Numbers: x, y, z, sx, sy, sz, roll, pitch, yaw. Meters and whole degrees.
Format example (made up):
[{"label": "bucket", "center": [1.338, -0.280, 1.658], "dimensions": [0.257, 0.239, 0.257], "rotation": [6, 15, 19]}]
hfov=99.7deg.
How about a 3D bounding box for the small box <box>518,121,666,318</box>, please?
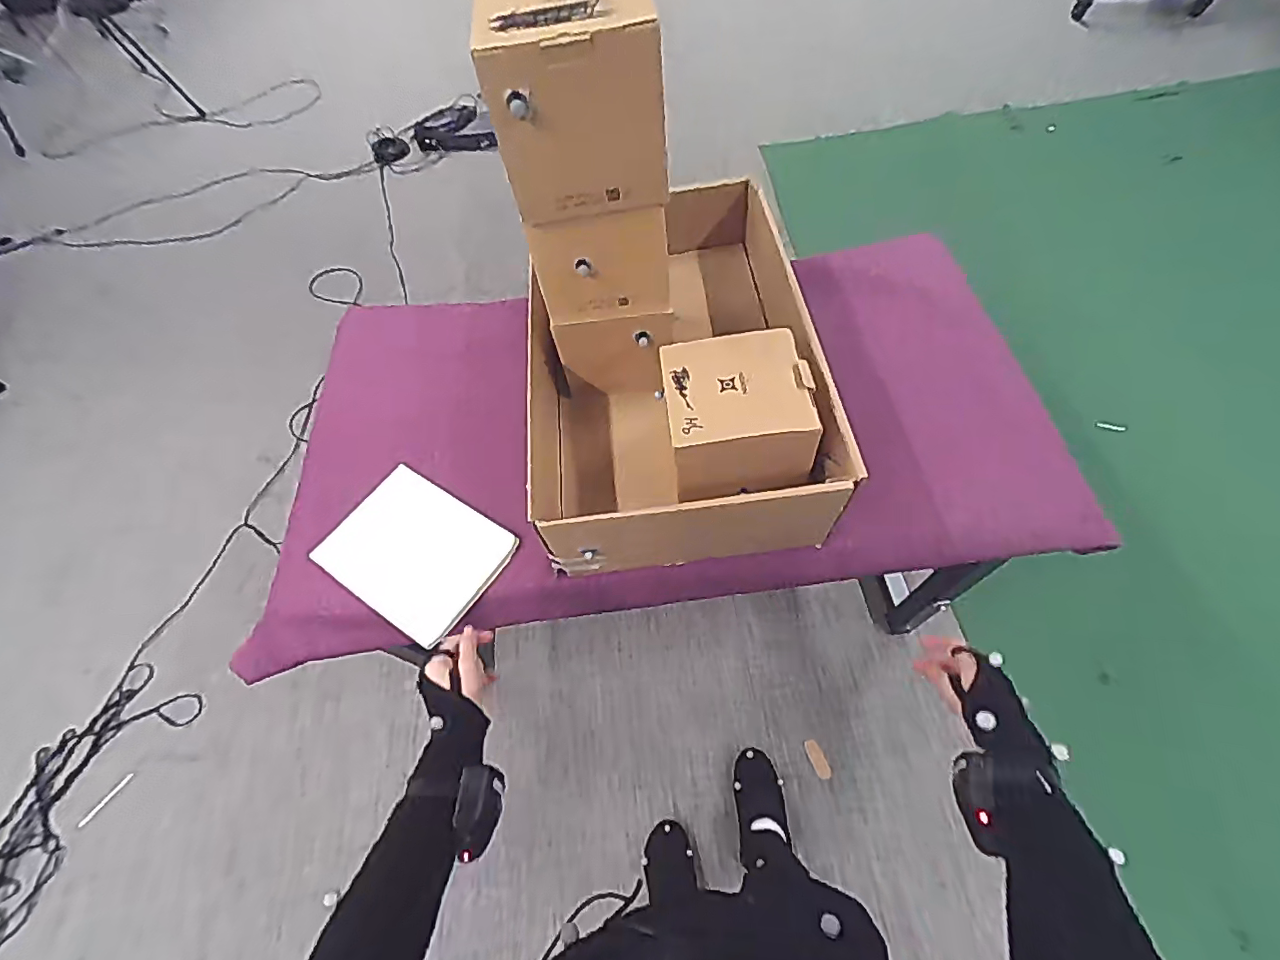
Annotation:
[{"label": "small box", "center": [-0.057, -0.335, 0.722], "dimensions": [0.168, 0.176, 0.179], "rotation": [-6, 61, 2]}]
